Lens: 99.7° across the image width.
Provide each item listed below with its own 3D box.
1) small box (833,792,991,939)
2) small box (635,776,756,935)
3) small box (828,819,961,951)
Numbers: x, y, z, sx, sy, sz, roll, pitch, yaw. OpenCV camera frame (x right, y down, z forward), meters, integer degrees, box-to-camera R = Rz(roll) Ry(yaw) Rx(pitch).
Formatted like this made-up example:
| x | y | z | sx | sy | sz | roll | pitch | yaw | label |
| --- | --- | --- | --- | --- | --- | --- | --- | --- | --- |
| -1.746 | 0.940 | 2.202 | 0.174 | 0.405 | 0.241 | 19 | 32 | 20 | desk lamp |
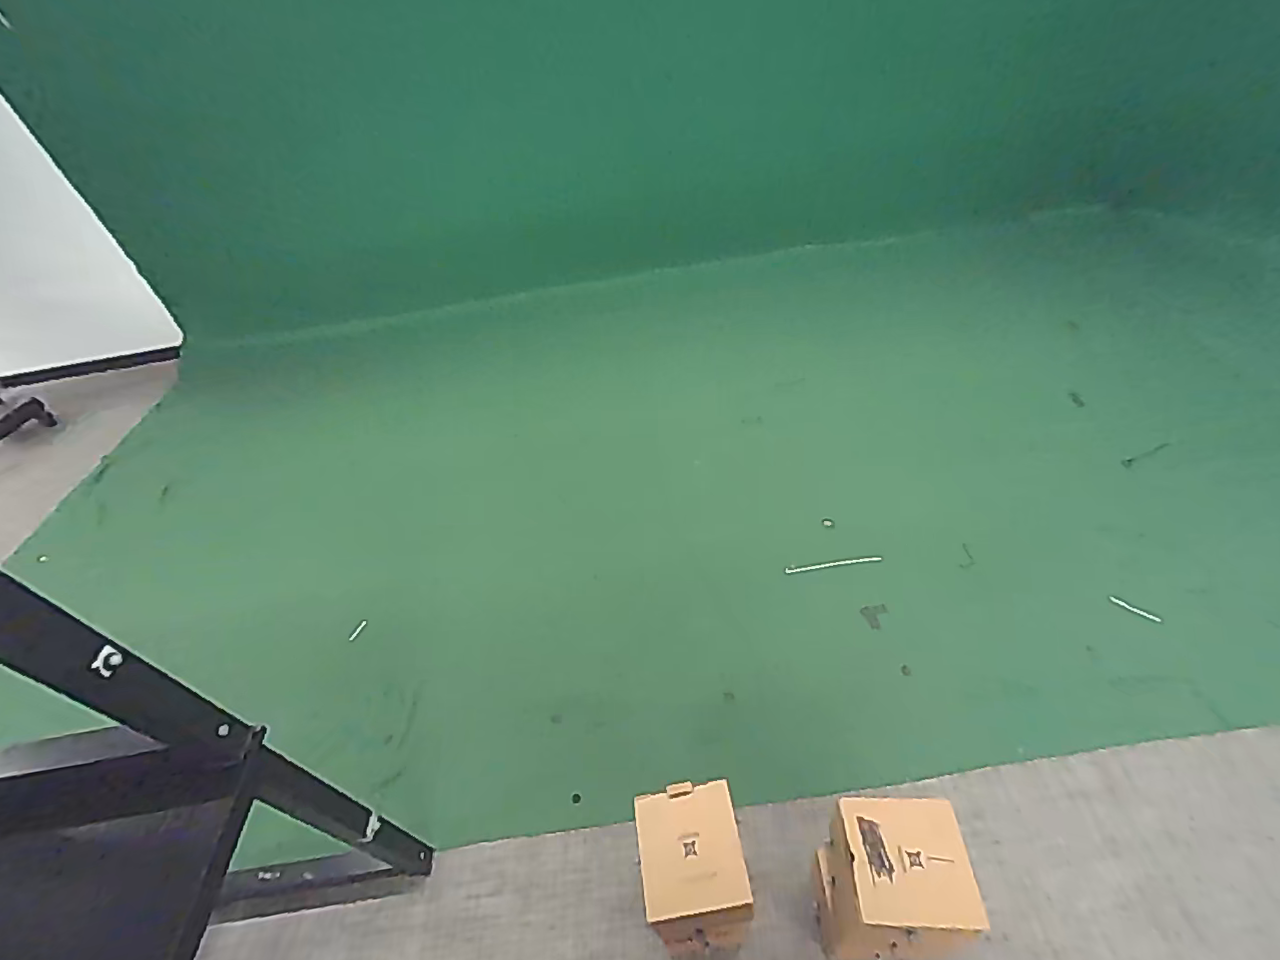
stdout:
| x | y | z | sx | sy | sz | roll | pitch | yaw | label |
| --- | --- | --- | --- | --- | --- | --- | --- | --- | --- |
| 0.415 | 0.618 | 0.865 | 0.179 | 0.176 | 0.168 | -3 | 45 | 7 | small box |
| 0.092 | 0.635 | 0.914 | 0.168 | 0.176 | 0.179 | -12 | 44 | 0 | small box |
| 0.444 | 0.732 | 0.979 | 0.179 | 0.176 | 0.168 | -1 | 46 | 9 | small box |
